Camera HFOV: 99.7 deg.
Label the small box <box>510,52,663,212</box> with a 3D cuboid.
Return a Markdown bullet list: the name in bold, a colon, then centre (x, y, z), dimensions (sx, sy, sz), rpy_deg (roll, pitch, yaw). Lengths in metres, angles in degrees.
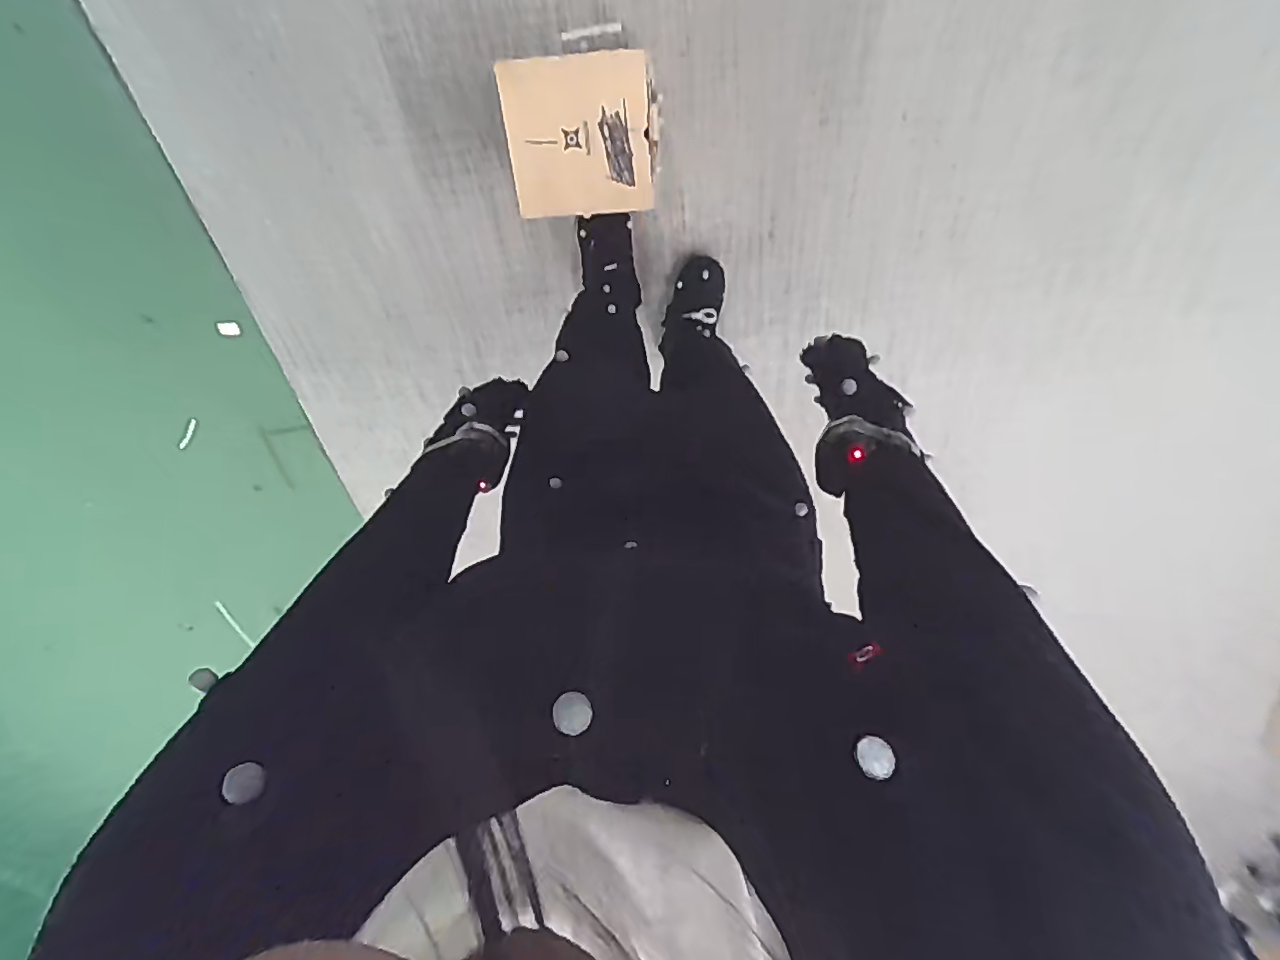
- **small box**: centre (-0.060, -0.459, 0.719), dimensions (0.179, 0.176, 0.168), rpy_deg (0, 124, 2)
